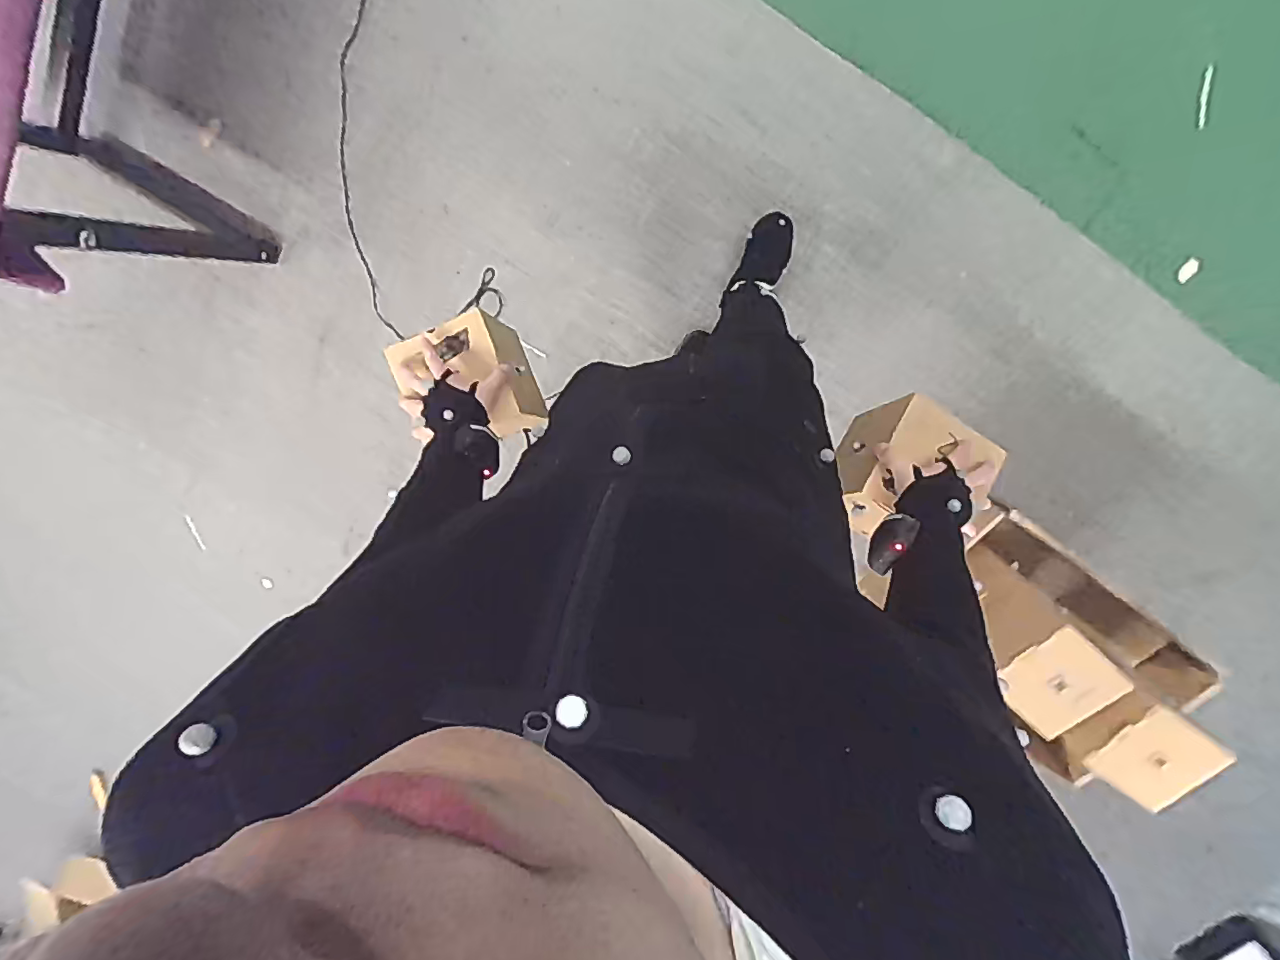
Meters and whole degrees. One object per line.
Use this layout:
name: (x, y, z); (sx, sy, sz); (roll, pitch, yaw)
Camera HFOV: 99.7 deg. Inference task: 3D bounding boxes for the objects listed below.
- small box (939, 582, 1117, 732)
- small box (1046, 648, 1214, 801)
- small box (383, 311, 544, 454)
small box: (0.703, 0.315, 1.005); (0.179, 0.176, 0.168); (41, 108, -9)
small box: (0.900, 0.460, 1.038); (0.179, 0.176, 0.168); (35, 109, -5)
small box: (-0.282, -0.150, 0.902); (0.168, 0.176, 0.179); (-22, 91, 7)
